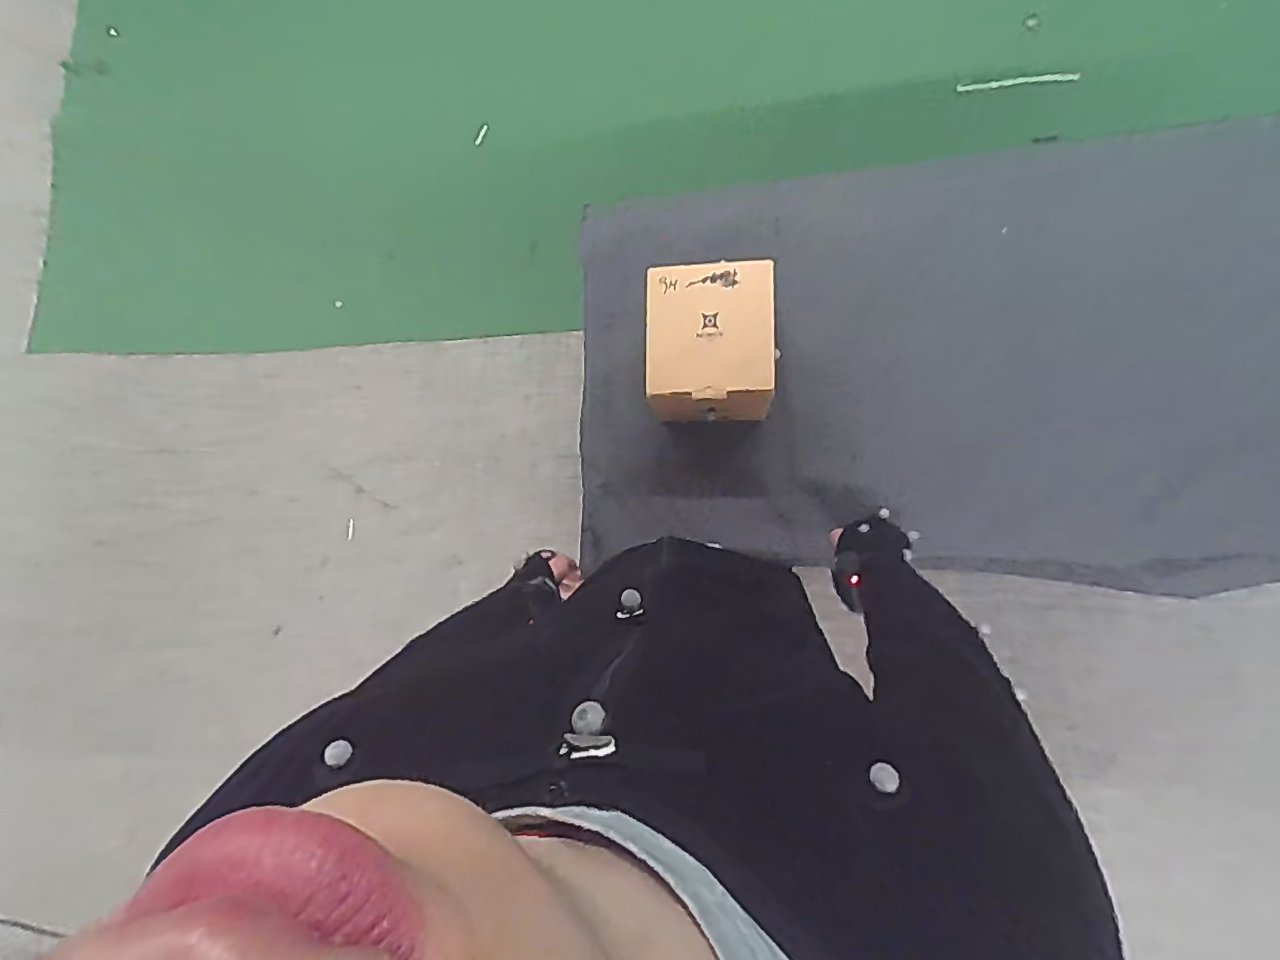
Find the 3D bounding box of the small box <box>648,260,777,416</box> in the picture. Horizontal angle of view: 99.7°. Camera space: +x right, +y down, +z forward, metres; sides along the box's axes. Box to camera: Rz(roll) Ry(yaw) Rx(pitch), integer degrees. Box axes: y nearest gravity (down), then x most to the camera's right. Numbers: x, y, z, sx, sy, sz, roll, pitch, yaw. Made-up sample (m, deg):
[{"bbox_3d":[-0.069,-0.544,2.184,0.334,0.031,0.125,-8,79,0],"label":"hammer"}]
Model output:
[{"bbox_3d":[0.106,-0.189,0.775,0.168,0.176,0.179,0,85,9],"label":"small box"}]
